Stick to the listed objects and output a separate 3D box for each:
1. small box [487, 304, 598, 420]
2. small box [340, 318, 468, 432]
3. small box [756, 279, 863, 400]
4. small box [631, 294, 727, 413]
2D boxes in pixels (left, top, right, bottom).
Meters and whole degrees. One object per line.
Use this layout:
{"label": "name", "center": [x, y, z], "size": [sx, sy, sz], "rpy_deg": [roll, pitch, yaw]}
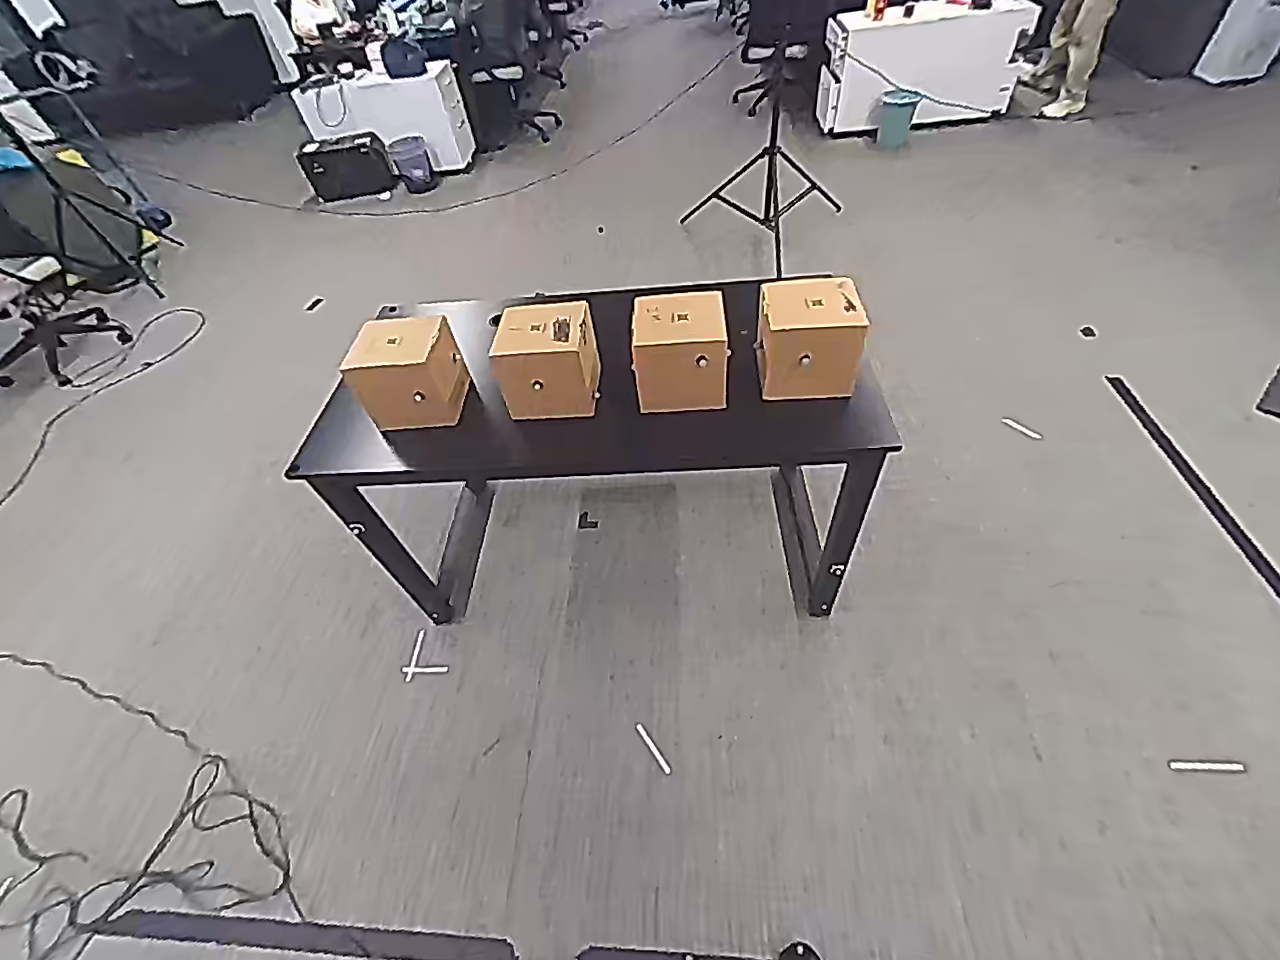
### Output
{"label": "small box", "center": [-0.190, -0.240, 1.119], "size": [0.179, 0.176, 0.168], "rpy_deg": [-3, 50, 7]}
{"label": "small box", "center": [-0.483, -0.218, 1.143], "size": [0.179, 0.176, 0.168], "rpy_deg": [-5, 49, 4]}
{"label": "small box", "center": [0.326, -0.275, 1.077], "size": [0.179, 0.176, 0.168], "rpy_deg": [-3, 49, 7]}
{"label": "small box", "center": [0.078, -0.252, 1.091], "size": [0.179, 0.176, 0.168], "rpy_deg": [-3, 49, 5]}
